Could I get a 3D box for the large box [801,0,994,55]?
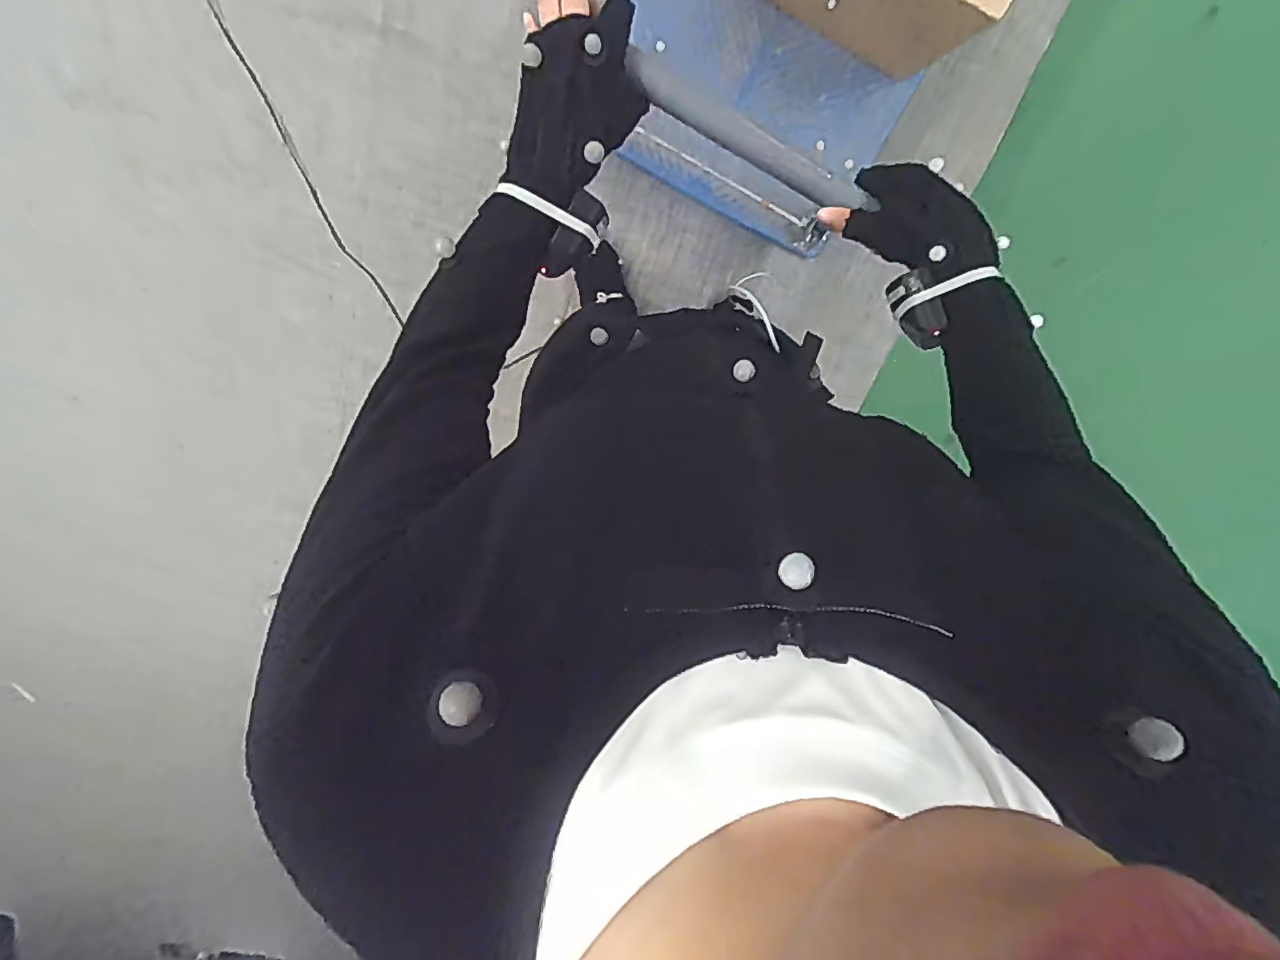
[{"bbox_3d":[0.371,-0.915,0.785,0.408,0.320,0.320,22,113,-8],"label":"large box"}]
